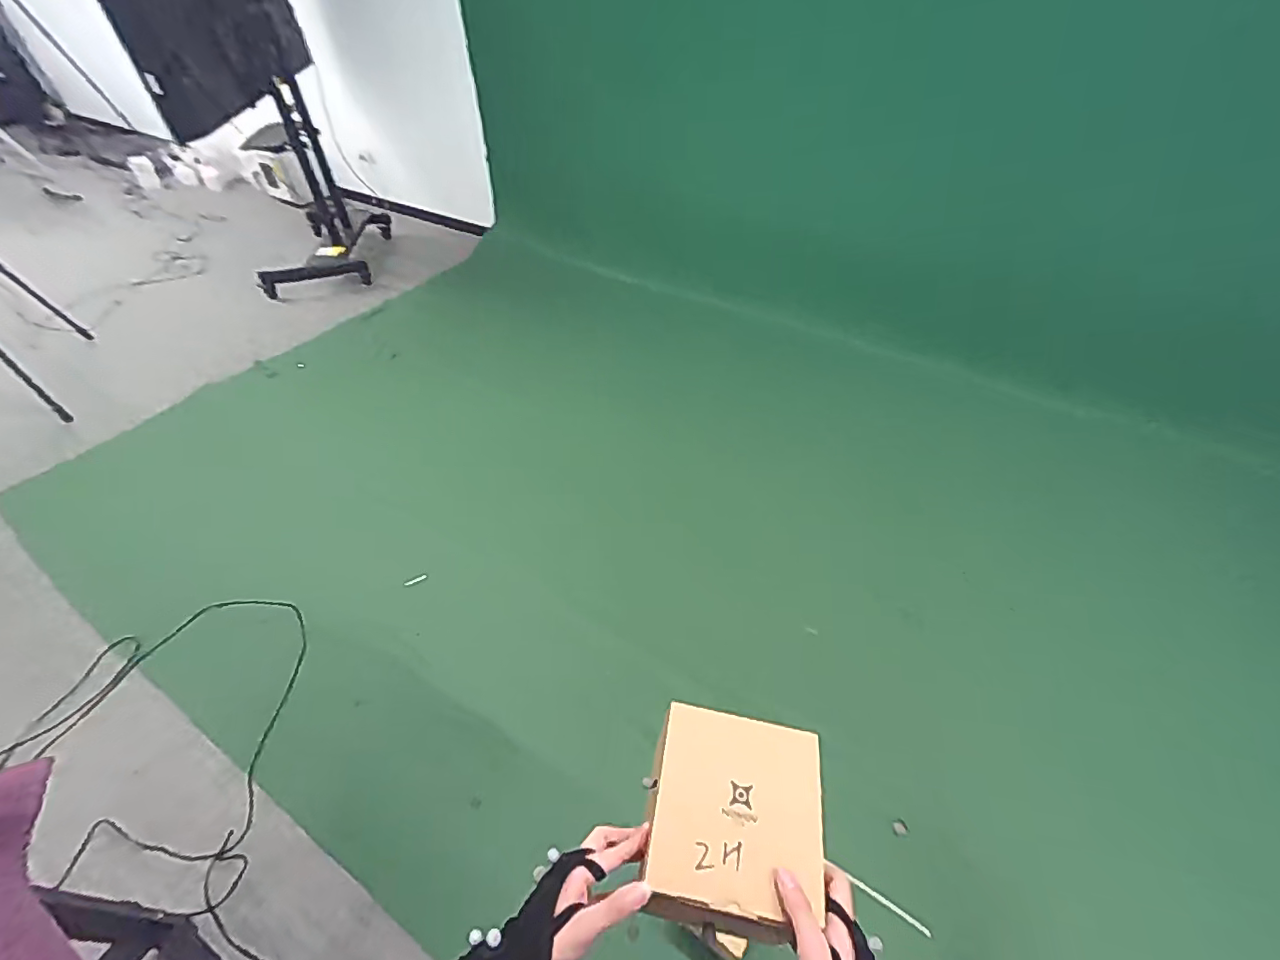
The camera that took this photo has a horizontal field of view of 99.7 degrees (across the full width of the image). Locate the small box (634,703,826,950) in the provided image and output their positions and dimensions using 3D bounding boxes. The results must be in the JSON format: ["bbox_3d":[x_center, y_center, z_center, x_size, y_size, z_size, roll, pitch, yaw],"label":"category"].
[{"bbox_3d":[0.092,0.376,0.588,0.168,0.176,0.179,11,47,5],"label":"small box"}]
